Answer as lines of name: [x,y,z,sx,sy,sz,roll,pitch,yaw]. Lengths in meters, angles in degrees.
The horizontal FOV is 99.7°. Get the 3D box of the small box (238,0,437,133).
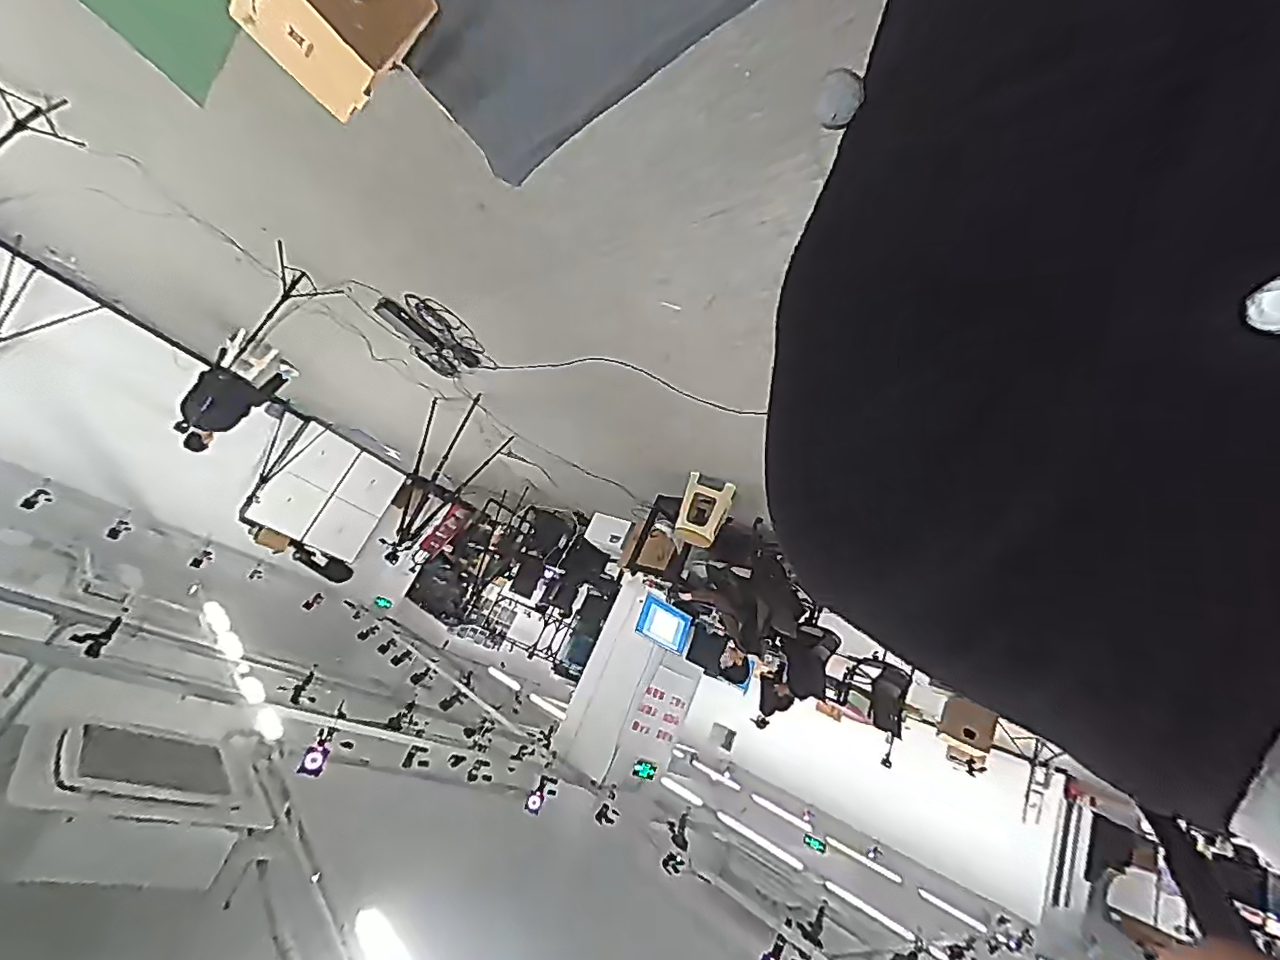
small box: [-0.430,-0.665,0.783,0.168,0.176,0.179,2,152,47]
